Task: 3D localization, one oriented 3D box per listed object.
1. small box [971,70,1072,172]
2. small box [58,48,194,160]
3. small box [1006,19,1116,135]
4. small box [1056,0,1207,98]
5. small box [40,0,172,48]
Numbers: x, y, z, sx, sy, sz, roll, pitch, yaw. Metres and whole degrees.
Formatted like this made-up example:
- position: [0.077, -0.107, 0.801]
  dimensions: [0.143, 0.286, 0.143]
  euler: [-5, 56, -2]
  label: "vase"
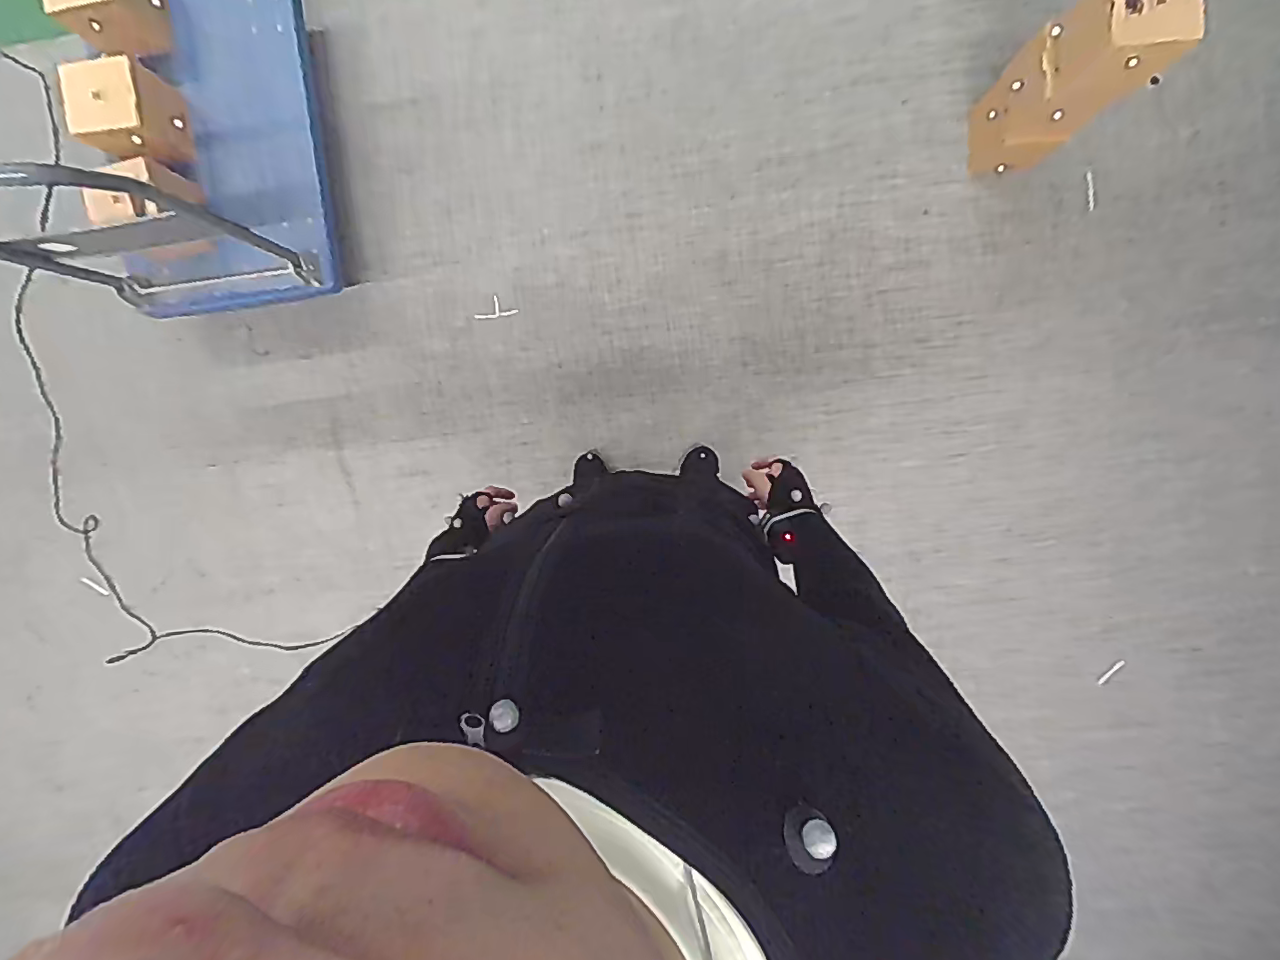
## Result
- position: [1.017, -0.959, 1.451]
  dimensions: [0.168, 0.176, 0.179]
  euler: [-1, 94, 3]
  label: "small box"
- position: [-1.279, -0.931, 1.356]
  dimensions: [0.179, 0.176, 0.168]
  euler: [-6, 94, 1]
  label: "small box"
- position: [1.006, -0.952, 1.288]
  dimensions: [0.179, 0.176, 0.168]
  euler: [-2, 94, 4]
  label: "small box"
- position: [1.008, -0.932, 1.124]
  dimensions: [0.179, 0.176, 0.168]
  euler: [-3, 94, 2]
  label: "small box"
- position: [-1.313, -1.204, 1.330]
  dimensions: [0.179, 0.176, 0.168]
  euler: [-1, 97, 1]
  label: "small box"
